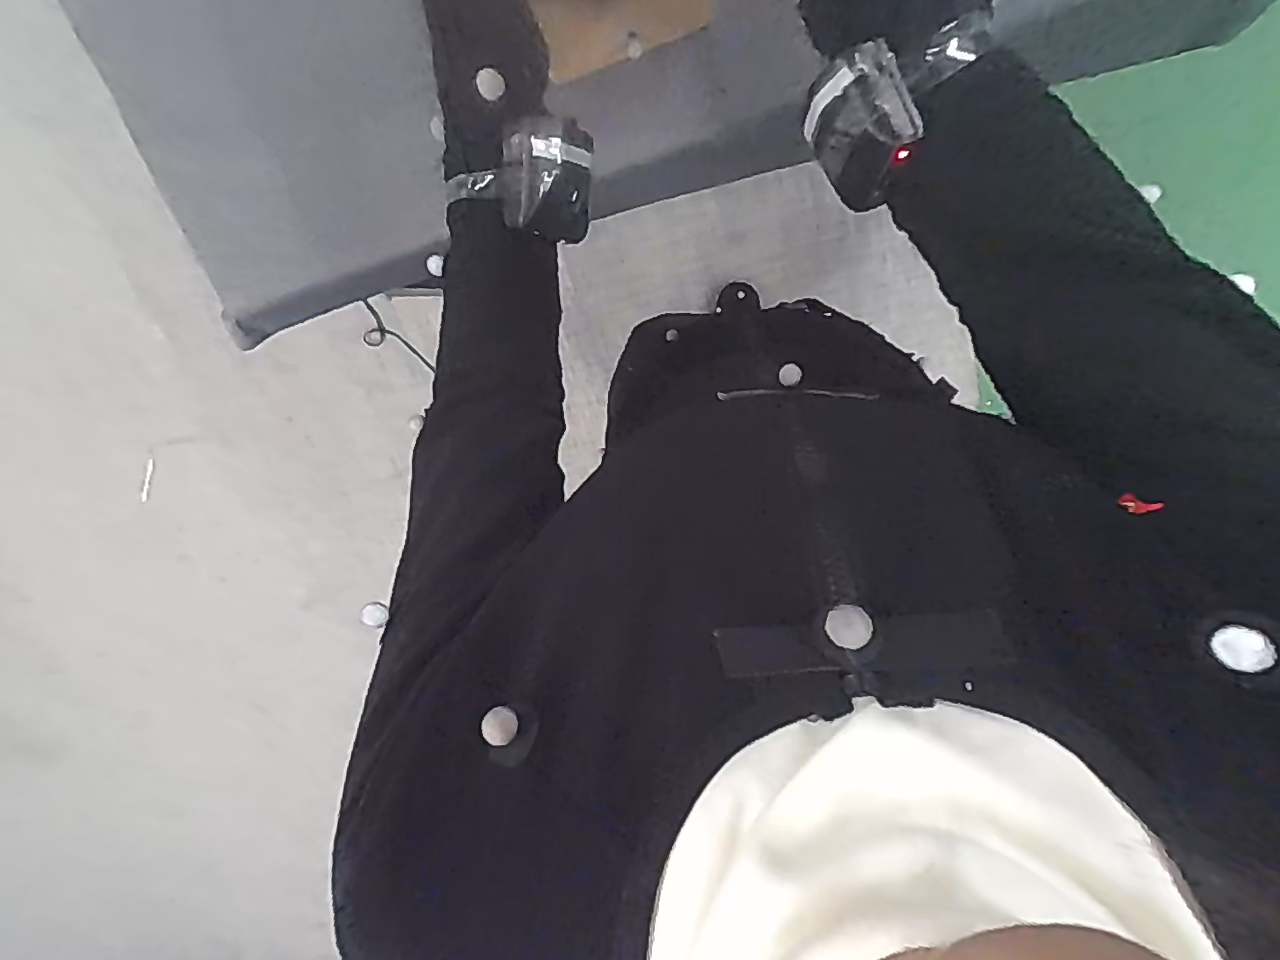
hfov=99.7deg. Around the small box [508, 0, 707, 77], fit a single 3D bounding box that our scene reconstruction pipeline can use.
[{"bbox_3d":[-0.037,-0.485,0.452,0.179,0.176,0.168,-15,107,9],"label":"small box"}]
